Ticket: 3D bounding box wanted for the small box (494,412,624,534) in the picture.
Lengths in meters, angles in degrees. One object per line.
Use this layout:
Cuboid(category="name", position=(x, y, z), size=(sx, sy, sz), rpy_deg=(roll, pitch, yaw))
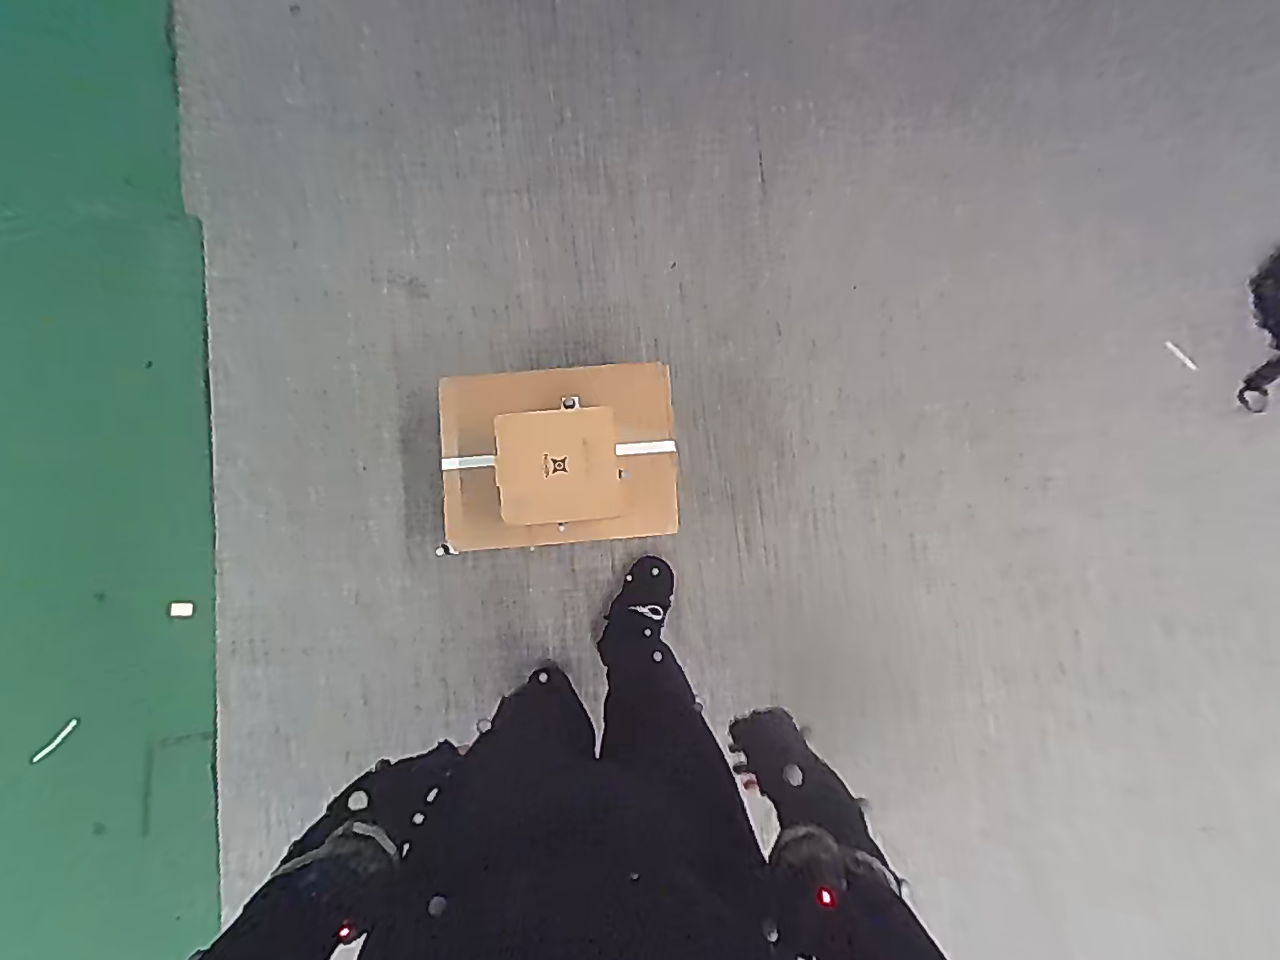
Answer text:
Cuboid(category="small box", position=(-0.120, -0.005, 0.860), size=(0.179, 0.176, 0.168), rpy_deg=(-7, 87, -2))
